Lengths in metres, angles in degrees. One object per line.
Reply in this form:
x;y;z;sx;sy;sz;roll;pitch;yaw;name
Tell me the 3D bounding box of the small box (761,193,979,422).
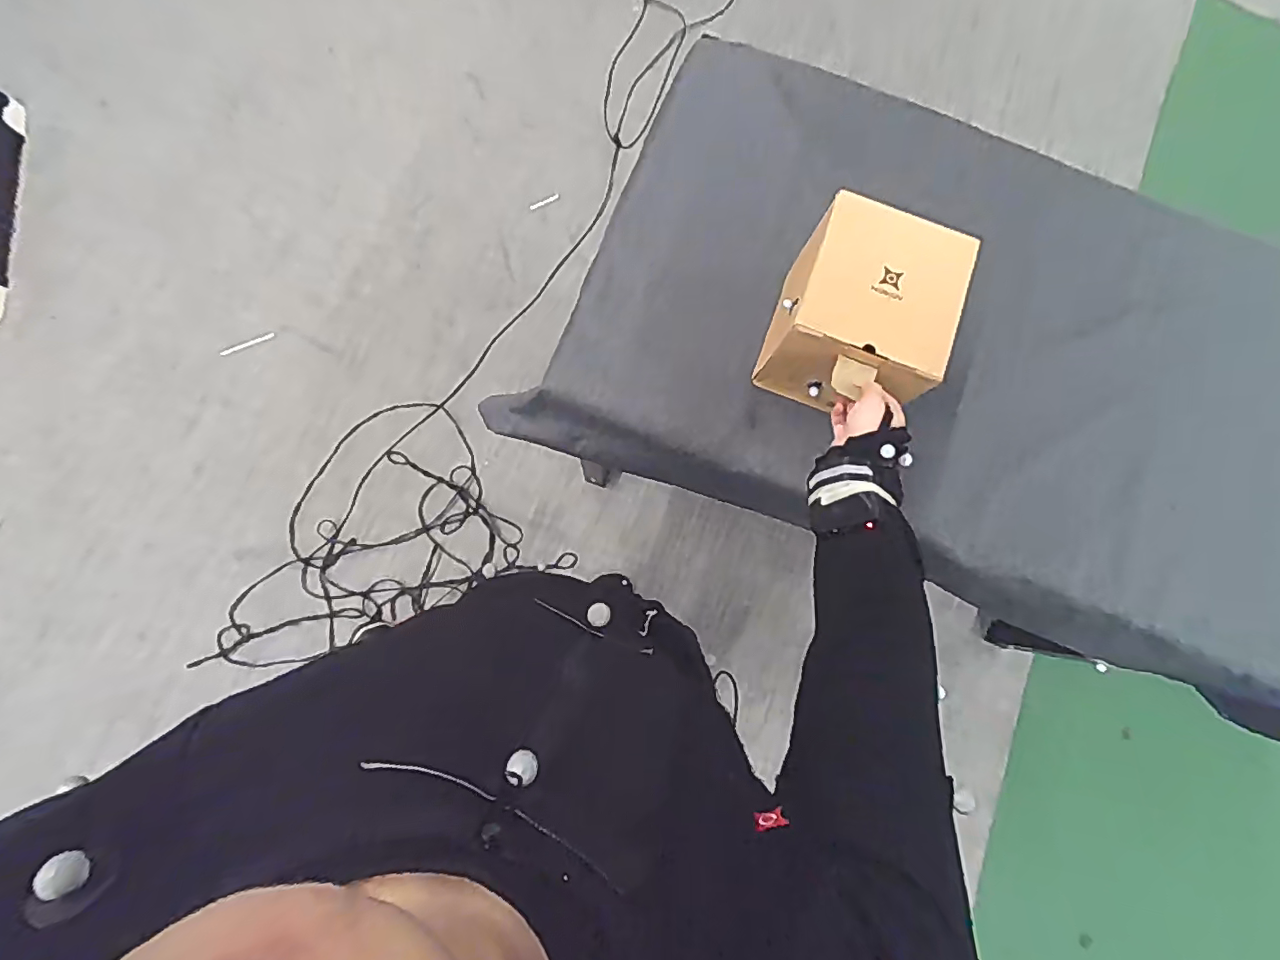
0.264;-0.195;0.657;0.168;0.176;0.179;20;79;-1;small box
